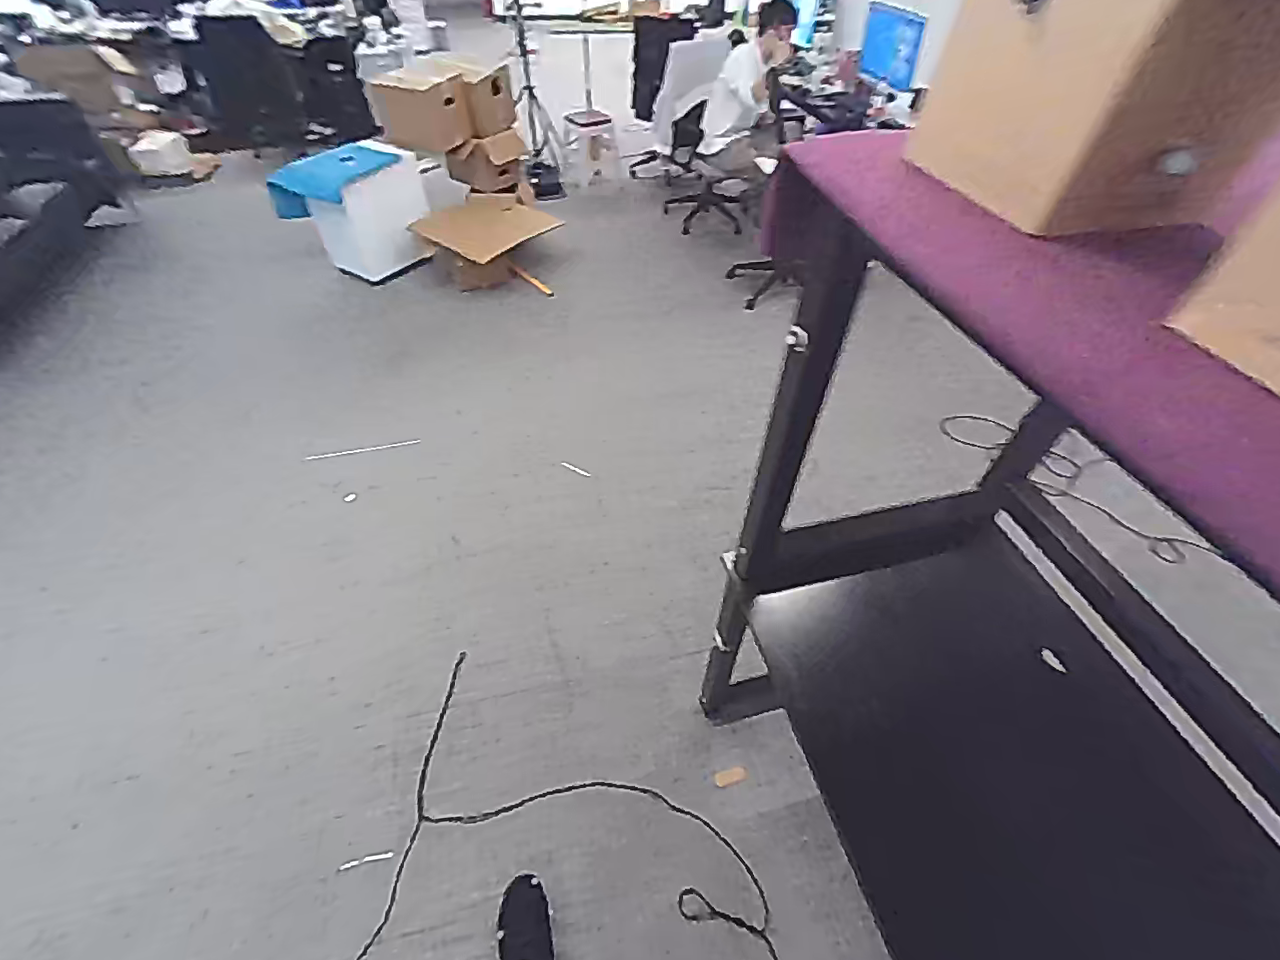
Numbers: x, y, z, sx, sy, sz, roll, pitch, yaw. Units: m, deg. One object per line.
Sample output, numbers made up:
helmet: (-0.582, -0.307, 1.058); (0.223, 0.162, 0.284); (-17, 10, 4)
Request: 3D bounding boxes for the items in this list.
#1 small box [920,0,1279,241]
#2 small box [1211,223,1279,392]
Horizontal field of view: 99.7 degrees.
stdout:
small box: (0.350, -0.298, 0.402); (0.168, 0.176, 0.179); (-9, 49, -10)
small box: (0.411, -0.092, 0.218); (0.179, 0.176, 0.168); (-8, 47, -11)
